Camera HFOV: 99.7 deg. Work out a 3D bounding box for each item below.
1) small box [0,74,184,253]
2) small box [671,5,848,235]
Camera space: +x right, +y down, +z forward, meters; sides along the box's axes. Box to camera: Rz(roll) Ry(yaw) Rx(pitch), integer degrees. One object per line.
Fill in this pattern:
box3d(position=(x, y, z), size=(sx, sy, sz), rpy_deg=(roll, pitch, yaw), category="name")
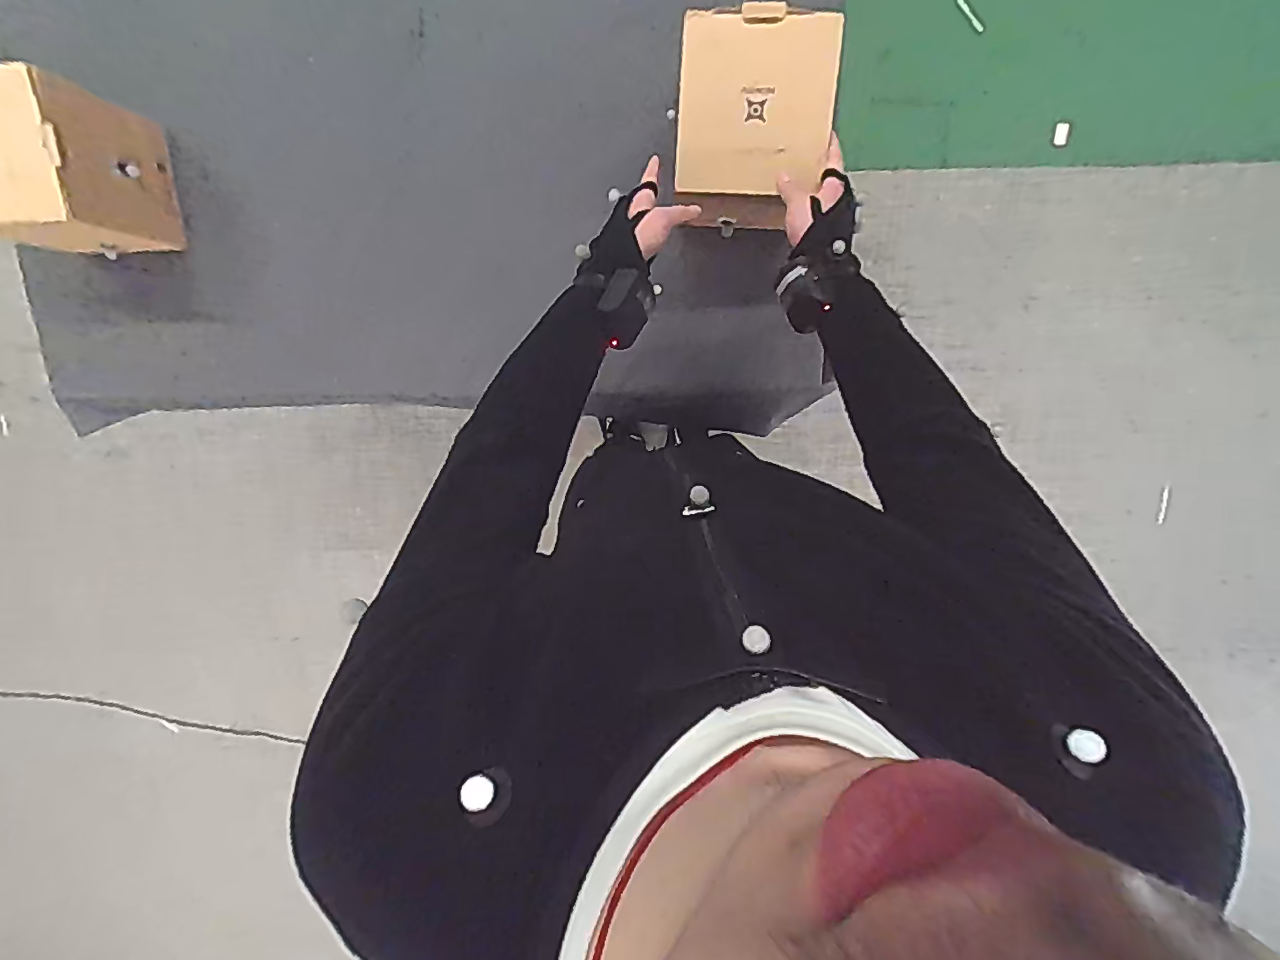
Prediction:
box3d(position=(-0.757, -0.404, 0.718), size=(0.179, 0.176, 0.168), rpy_deg=(-1, 103, 3), category="small box")
box3d(position=(0.128, -0.409, 0.642), size=(0.168, 0.176, 0.179), rpy_deg=(6, 104, 5), category="small box")
